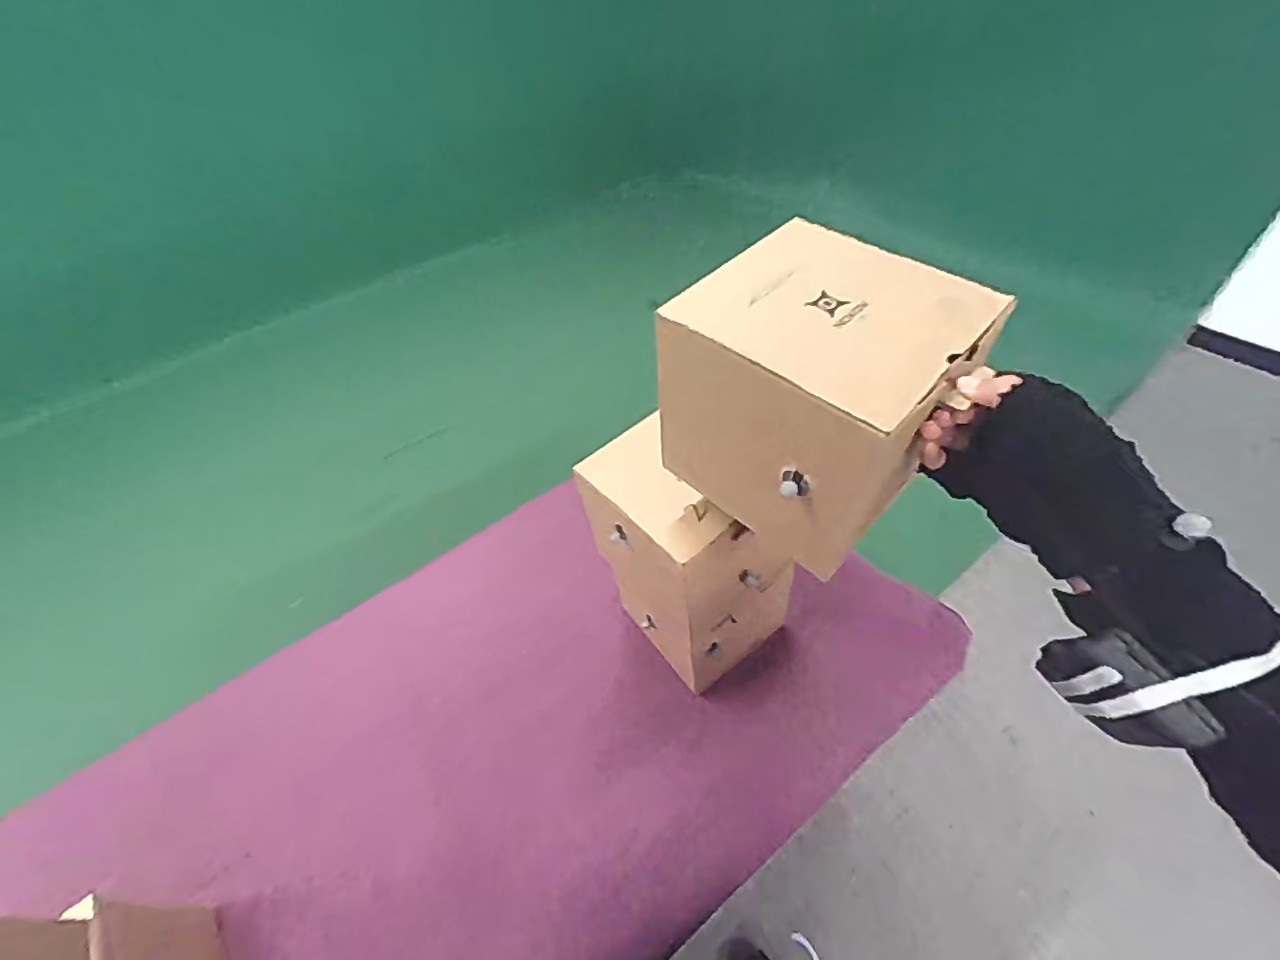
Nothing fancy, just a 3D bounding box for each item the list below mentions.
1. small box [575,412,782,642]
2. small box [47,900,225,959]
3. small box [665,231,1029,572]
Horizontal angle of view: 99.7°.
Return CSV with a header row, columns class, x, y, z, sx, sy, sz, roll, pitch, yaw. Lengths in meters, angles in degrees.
class,x,y,z,sx,sy,sz,roll,pitch,yaw
small box,0.052,0.050,0.619,0.168,0.176,0.179,-36,54,-20
small box,-0.516,0.542,0.501,0.168,0.176,0.179,-34,55,-21
small box,0.137,-0.053,0.418,0.168,0.176,0.179,-38,60,-24
